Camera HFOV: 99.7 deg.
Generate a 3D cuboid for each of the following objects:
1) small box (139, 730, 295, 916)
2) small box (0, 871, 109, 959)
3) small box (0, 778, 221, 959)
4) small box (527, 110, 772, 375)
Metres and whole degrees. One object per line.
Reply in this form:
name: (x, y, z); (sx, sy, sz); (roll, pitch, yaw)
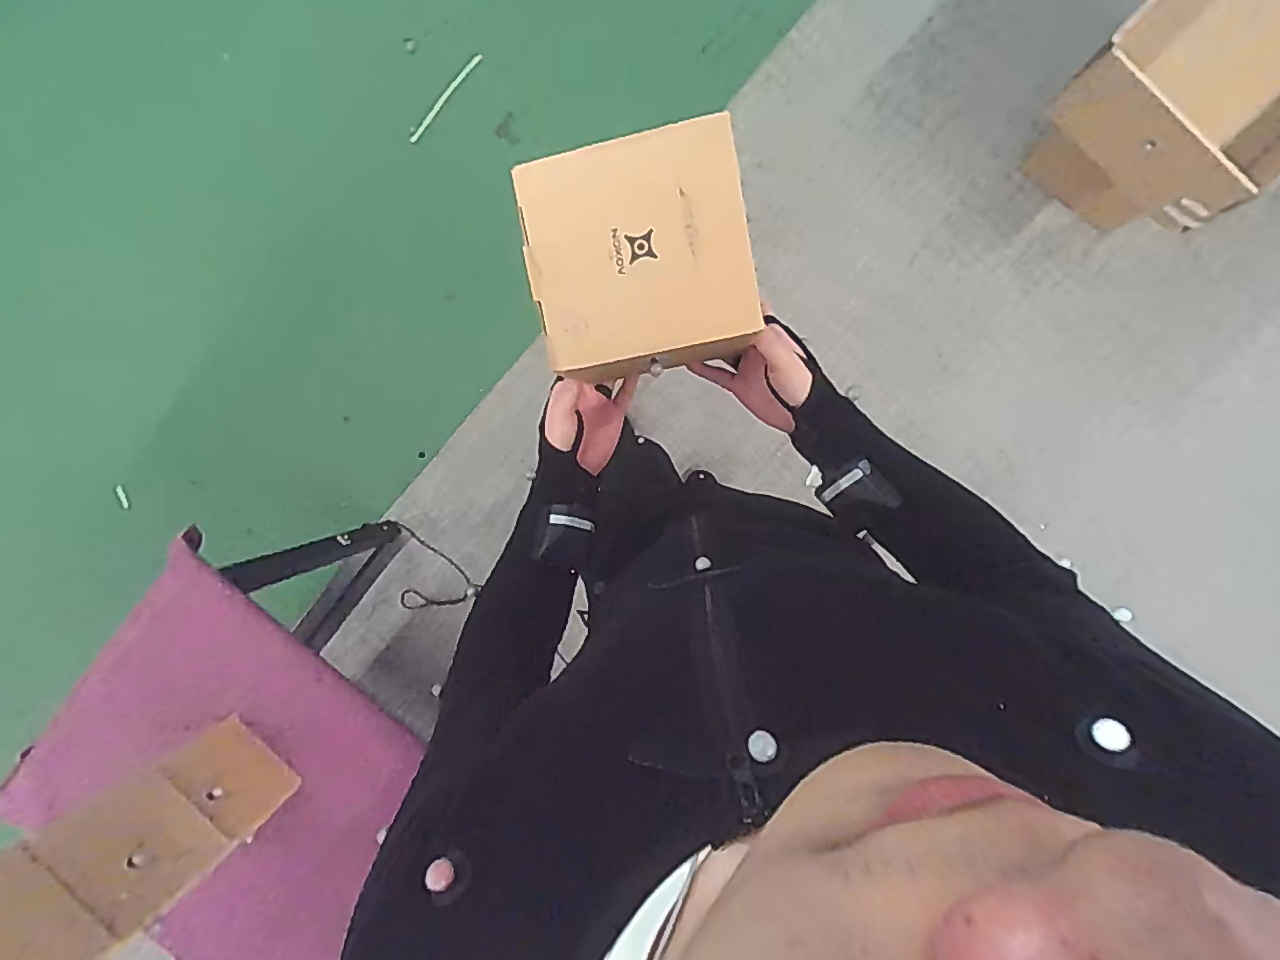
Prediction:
small box: (-0.727, 0.545, 0.886); (0.168, 0.176, 0.179); (-45, 92, 4)
small box: (-0.734, 0.555, 0.556); (0.168, 0.176, 0.179); (-45, 92, 5)
small box: (-0.726, 0.549, 0.721); (0.168, 0.176, 0.179); (-44, 92, 4)
small box: (0.016, -0.195, 0.501); (0.179, 0.176, 0.168); (-9, 96, 6)
